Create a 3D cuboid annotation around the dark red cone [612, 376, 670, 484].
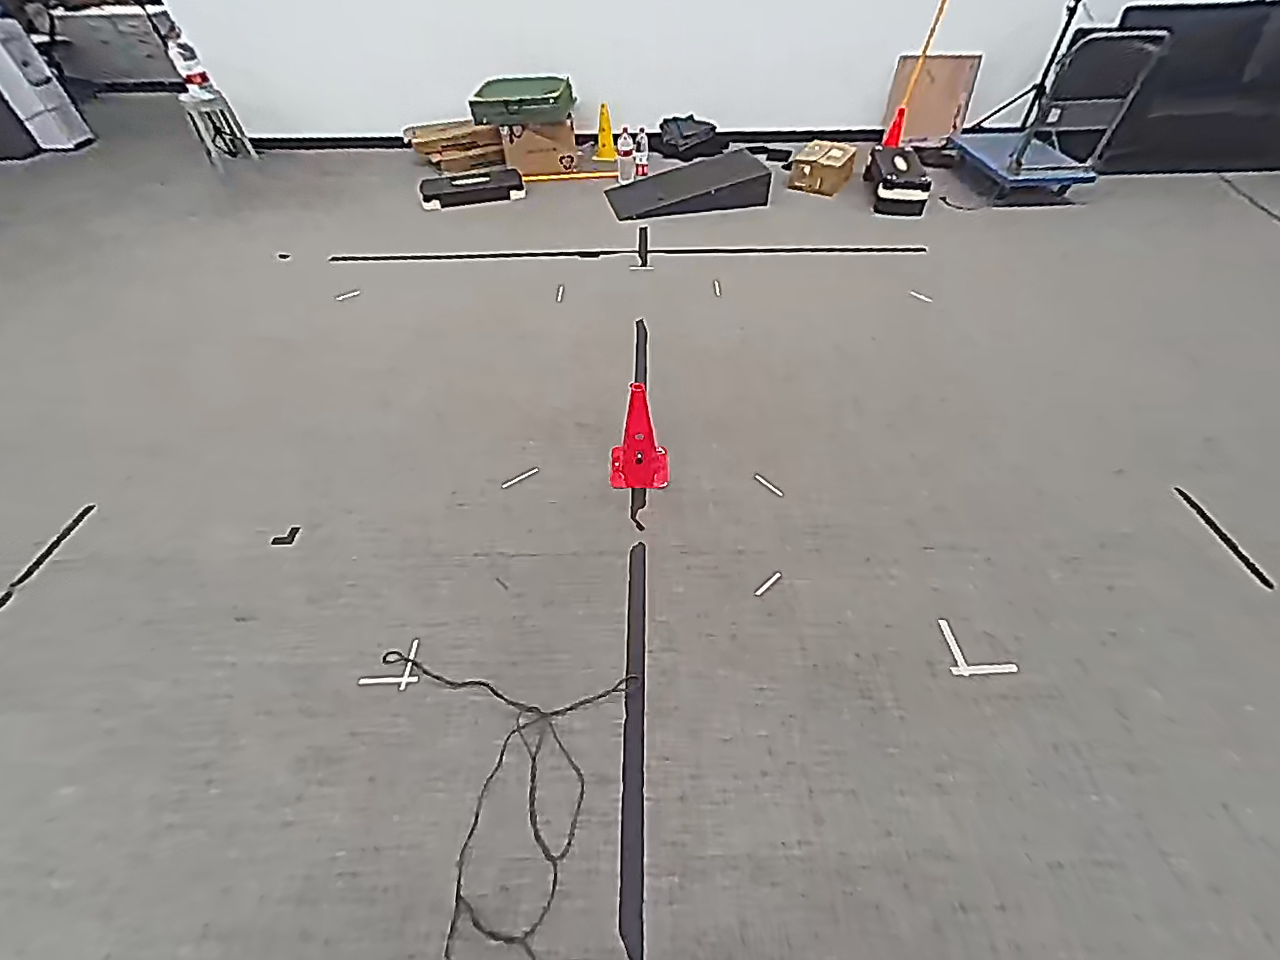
[{"bbox_3d":[-0.003,-0.174,1.768,0.201,0.394,0.202,-1,48,1],"label":"dark red cone"}]
